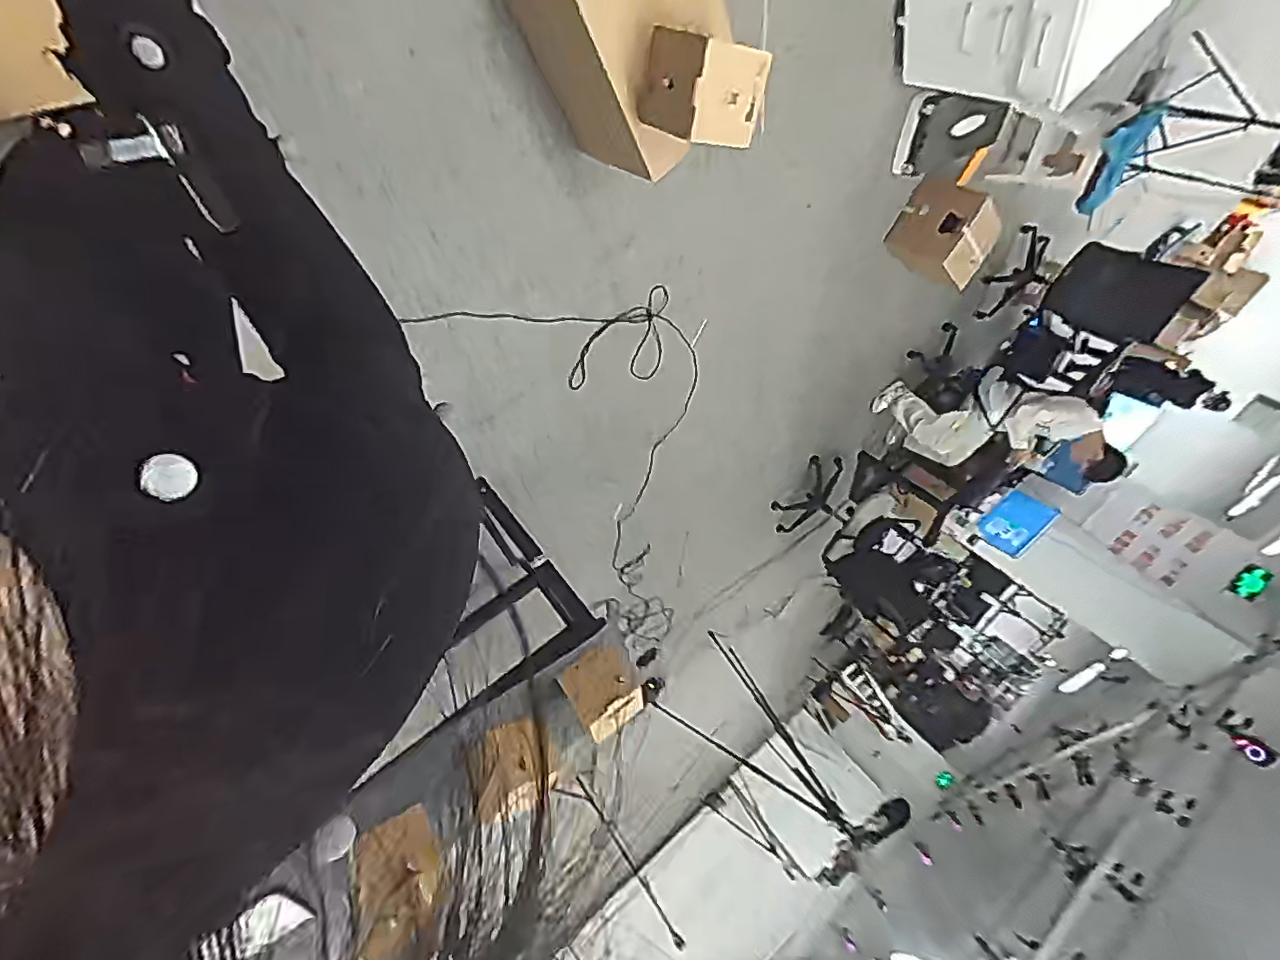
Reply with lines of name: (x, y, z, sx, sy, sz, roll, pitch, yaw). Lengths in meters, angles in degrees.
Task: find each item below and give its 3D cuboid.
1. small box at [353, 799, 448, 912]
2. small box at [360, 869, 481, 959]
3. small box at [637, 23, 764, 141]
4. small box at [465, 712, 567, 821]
small box: (-0.604, 0.953, 1.353, 0.179, 0.176, 0.168, -15, 135, -41)
small box: (-0.506, 1.038, 1.251, 0.168, 0.176, 0.179, -39, 146, -14)
small box: (0.115, -0.815, 1.109, 0.179, 0.176, 0.168, -18, 137, -33)
small box: (-0.337, 0.756, 1.446, 0.179, 0.176, 0.168, 10, 118, -52)
